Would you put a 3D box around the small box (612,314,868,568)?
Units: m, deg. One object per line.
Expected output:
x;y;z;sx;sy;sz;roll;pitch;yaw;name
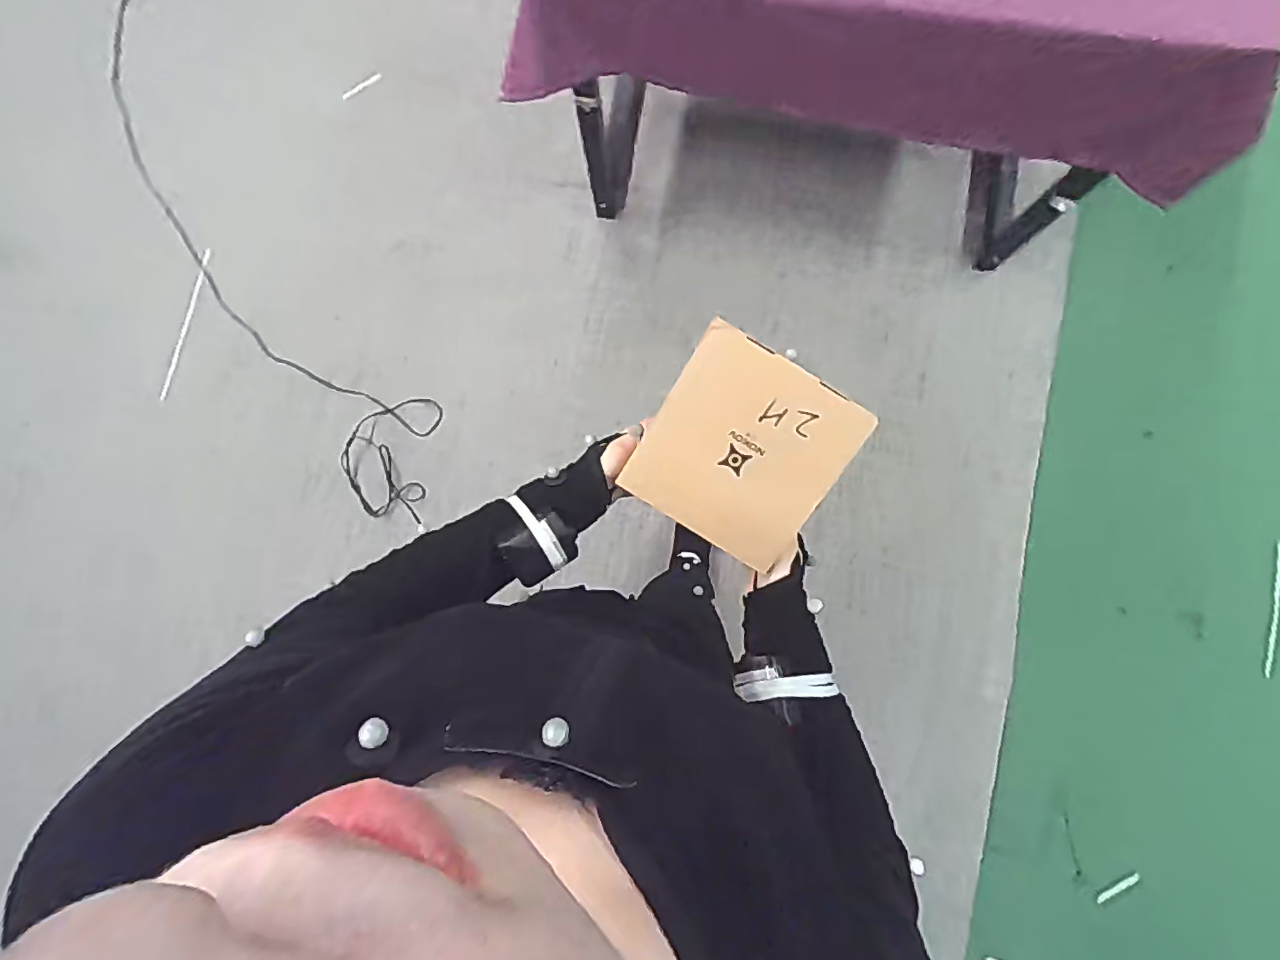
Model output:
0.096;-0.047;0.556;0.168;0.176;0.179;31;106;0;small box
